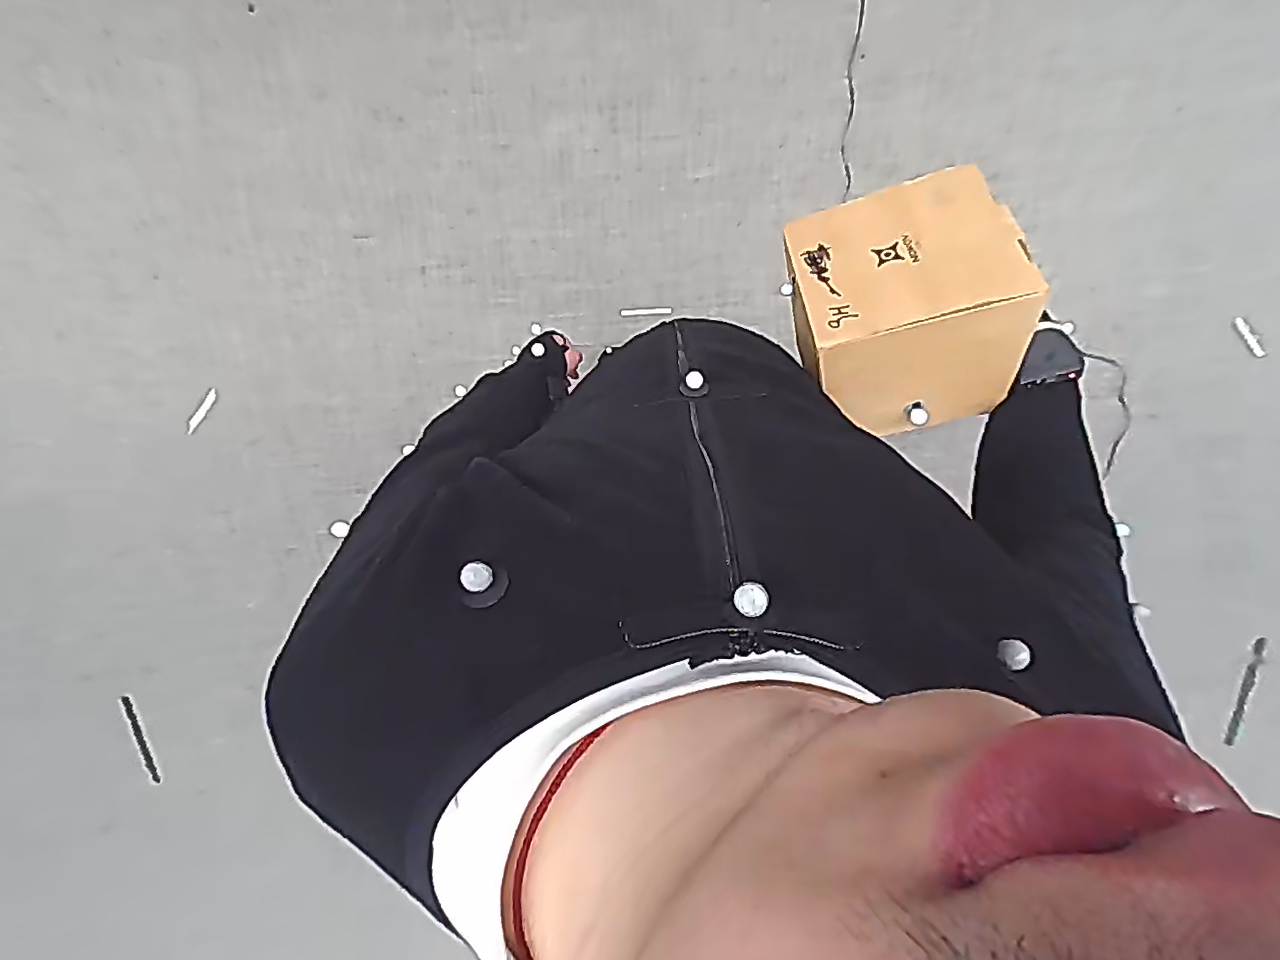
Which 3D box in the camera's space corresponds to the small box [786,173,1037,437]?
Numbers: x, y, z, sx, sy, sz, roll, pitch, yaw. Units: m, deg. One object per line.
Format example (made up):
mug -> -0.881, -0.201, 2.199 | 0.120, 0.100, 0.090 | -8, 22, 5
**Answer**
small box -> 0.258, -0.167, 0.559 | 0.179, 0.168, 0.176 | -12, 149, 15
